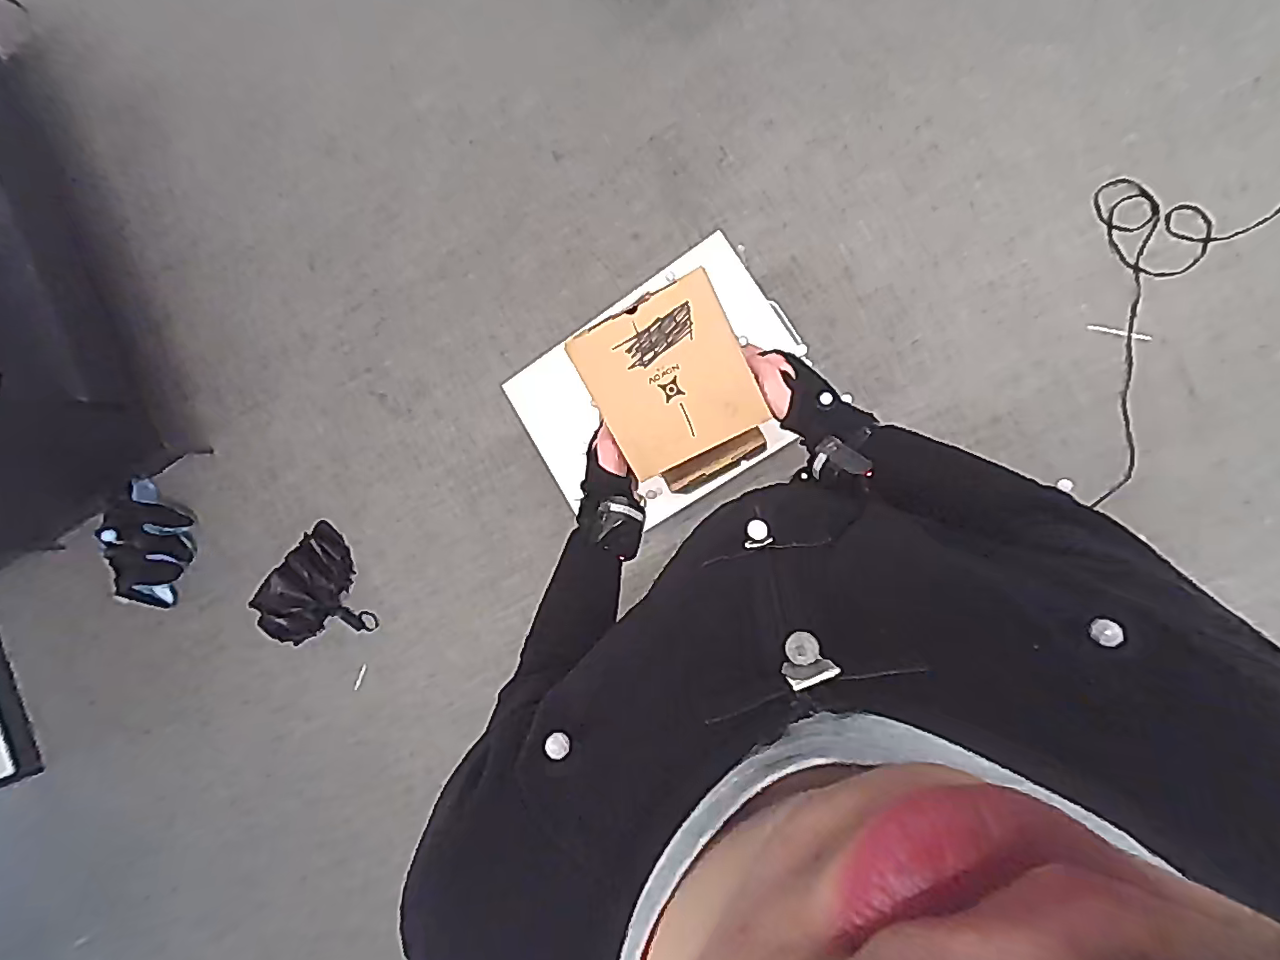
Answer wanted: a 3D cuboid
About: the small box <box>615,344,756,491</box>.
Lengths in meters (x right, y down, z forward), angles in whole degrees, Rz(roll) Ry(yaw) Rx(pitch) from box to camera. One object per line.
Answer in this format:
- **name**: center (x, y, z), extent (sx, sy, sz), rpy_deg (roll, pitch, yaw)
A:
- **small box**: center (0.085, -0.094, 0.907), extent (0.168, 0.176, 0.179), rpy_deg (-29, 81, 9)
